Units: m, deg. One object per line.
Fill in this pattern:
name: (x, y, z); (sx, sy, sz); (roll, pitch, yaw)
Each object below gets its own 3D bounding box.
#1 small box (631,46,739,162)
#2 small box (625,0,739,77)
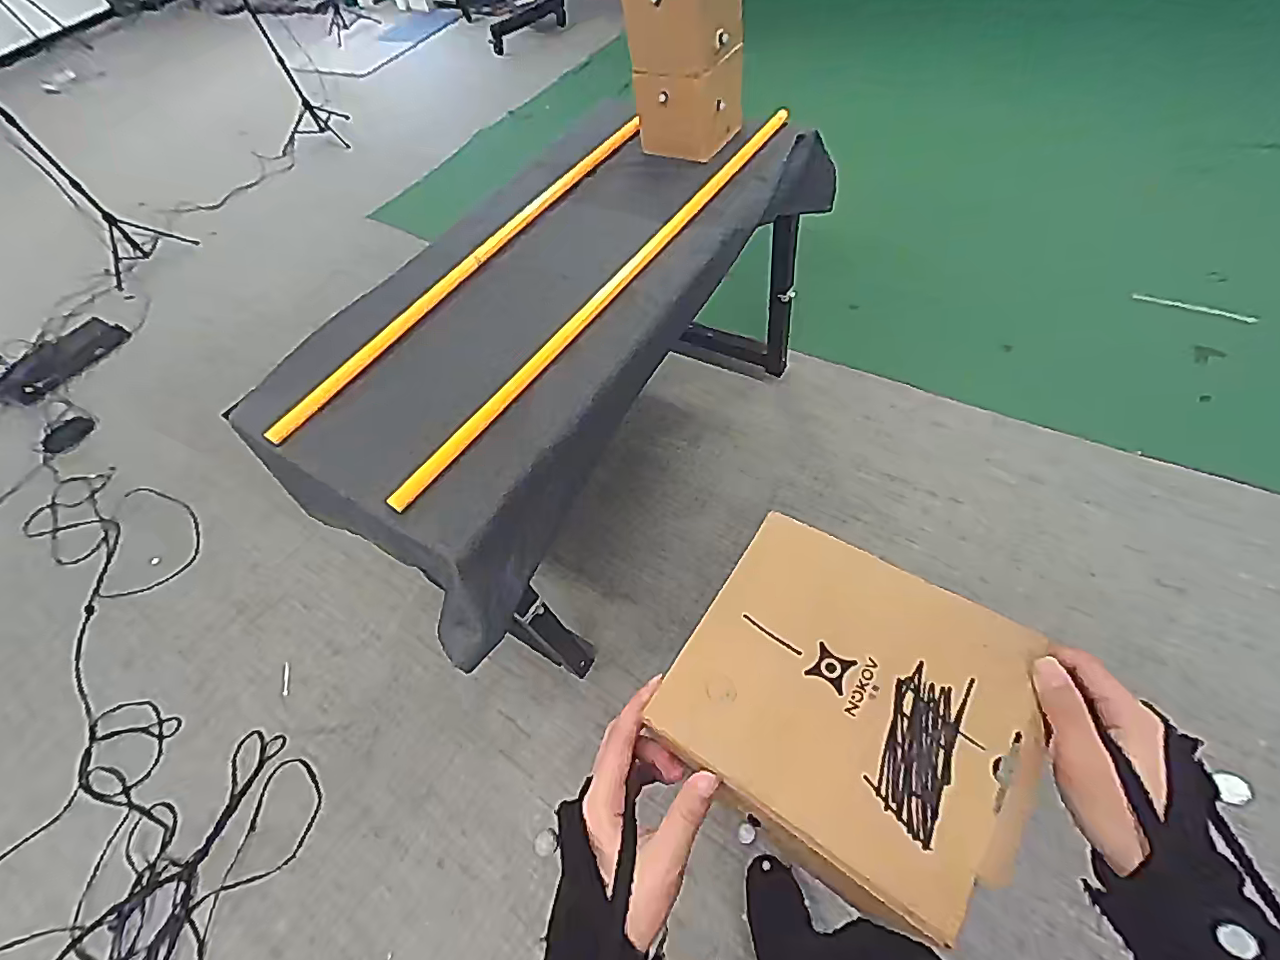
small box: (0.108, -0.836, 1.201); (0.179, 0.176, 0.168); (25, 65, 26)
small box: (0.082, -0.931, 1.071); (0.179, 0.176, 0.168); (24, 65, 24)
